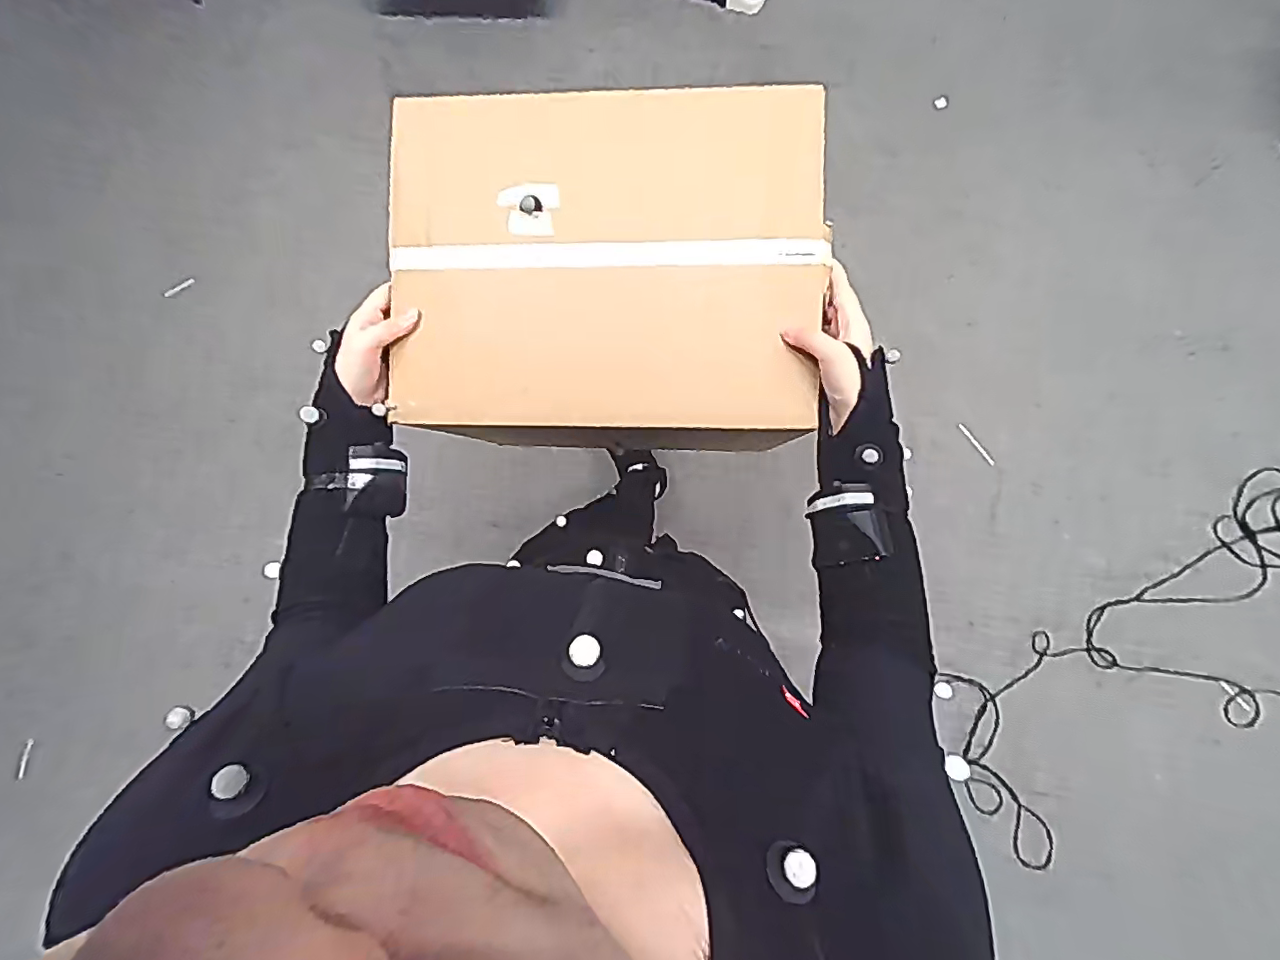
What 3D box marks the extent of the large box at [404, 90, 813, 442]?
[{"bbox_3d":[-0.020,-0.209,0.668,0.408,0.320,0.320,1,89,6],"label":"large box"}]
